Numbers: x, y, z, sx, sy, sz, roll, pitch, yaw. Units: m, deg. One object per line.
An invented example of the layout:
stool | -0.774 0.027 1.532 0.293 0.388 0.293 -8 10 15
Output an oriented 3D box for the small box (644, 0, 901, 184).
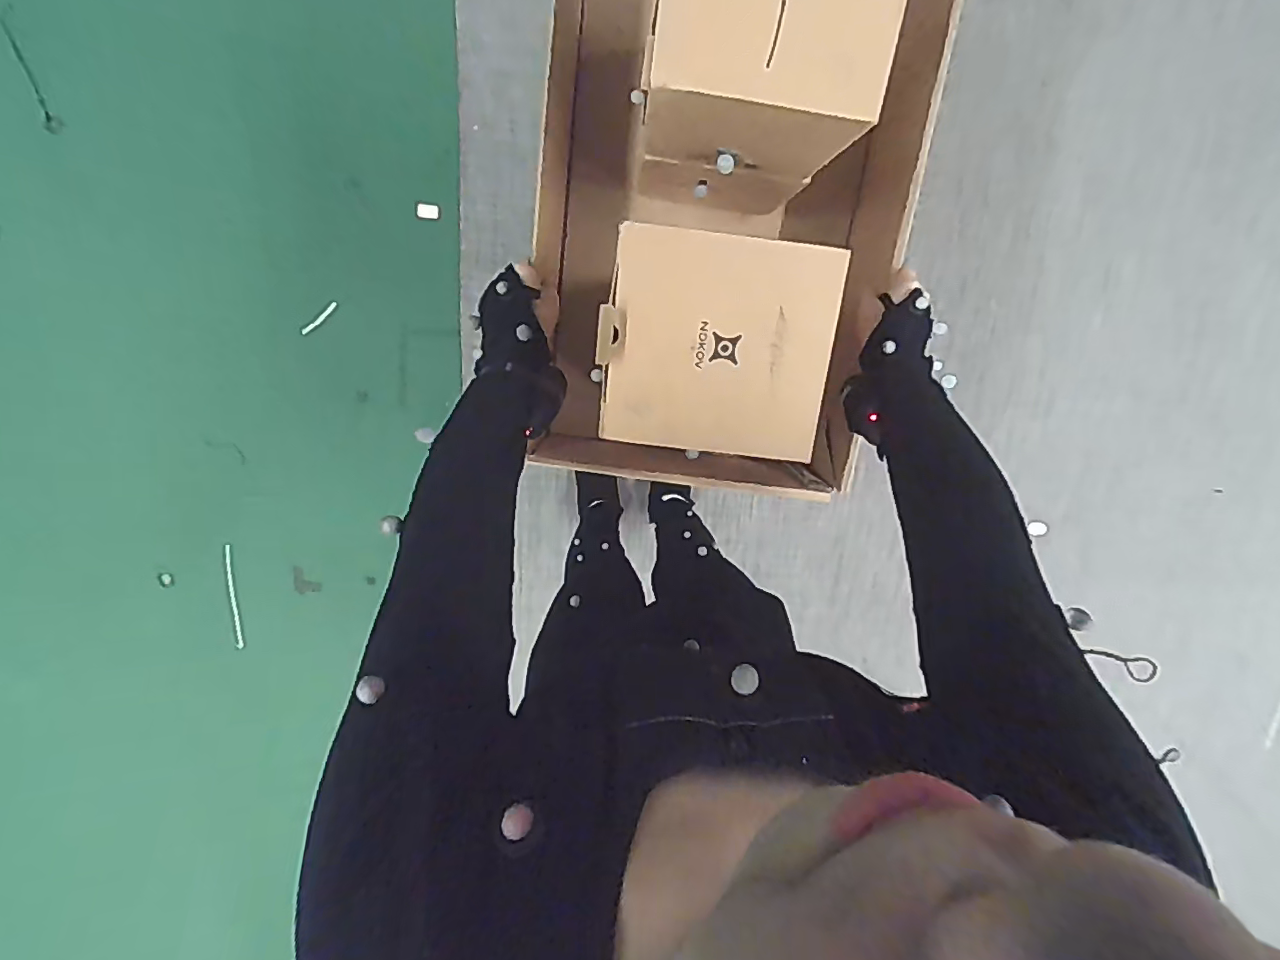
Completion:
small box | 0.096 -0.367 0.439 0.168 0.176 0.179 8 107 -4

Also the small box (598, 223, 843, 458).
small box | 0.059 -0.125 0.505 0.179 0.176 0.168 6 105 -4
